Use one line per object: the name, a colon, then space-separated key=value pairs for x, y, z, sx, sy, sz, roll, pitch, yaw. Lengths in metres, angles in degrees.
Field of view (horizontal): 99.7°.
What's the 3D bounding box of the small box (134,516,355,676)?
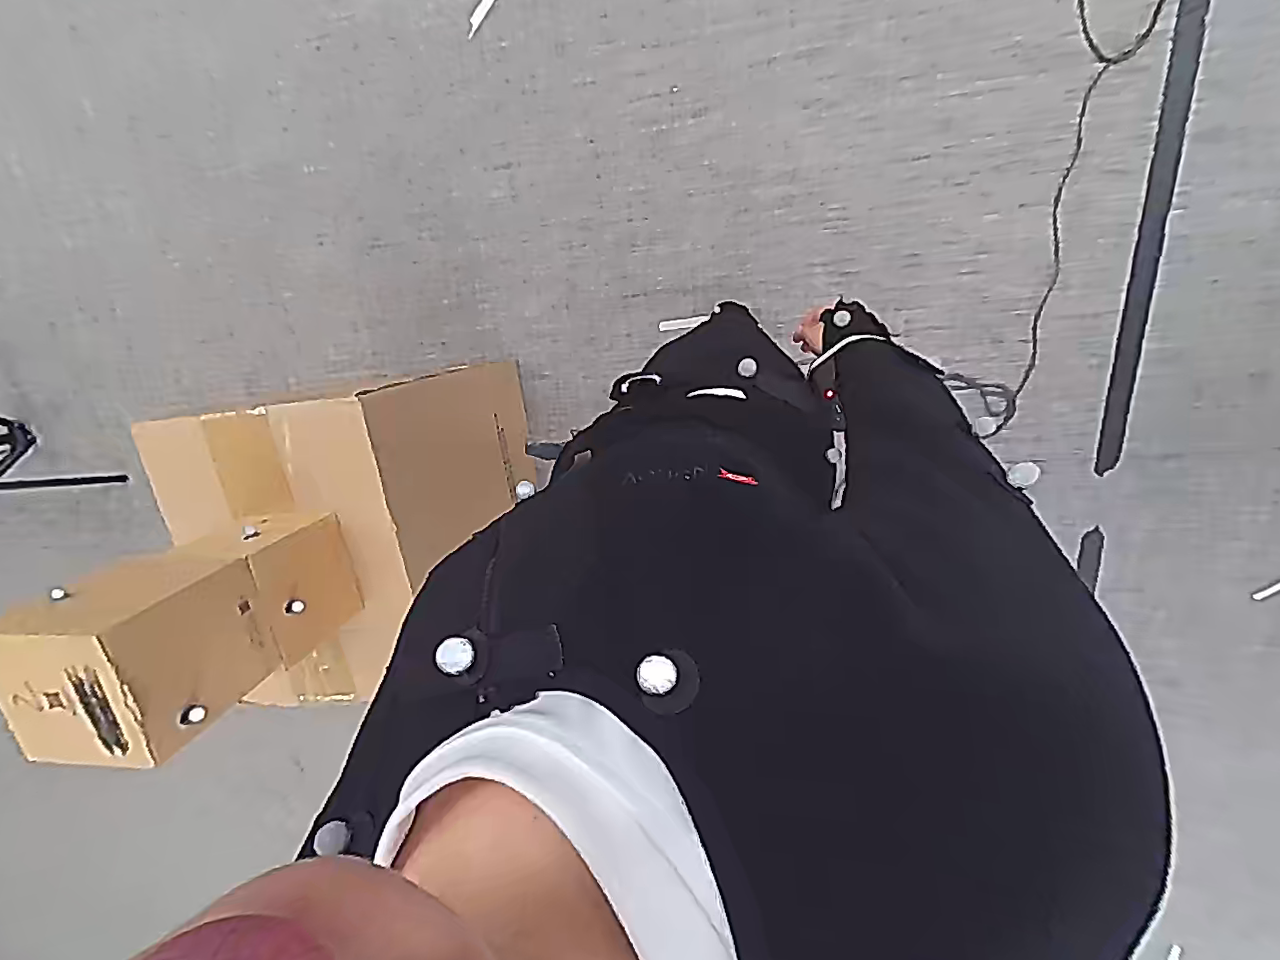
small box: x=-0.553 y=0.157 z=0.784 sx=0.168 sy=0.176 sz=0.179 roll=-4 pitch=107 yaw=9
